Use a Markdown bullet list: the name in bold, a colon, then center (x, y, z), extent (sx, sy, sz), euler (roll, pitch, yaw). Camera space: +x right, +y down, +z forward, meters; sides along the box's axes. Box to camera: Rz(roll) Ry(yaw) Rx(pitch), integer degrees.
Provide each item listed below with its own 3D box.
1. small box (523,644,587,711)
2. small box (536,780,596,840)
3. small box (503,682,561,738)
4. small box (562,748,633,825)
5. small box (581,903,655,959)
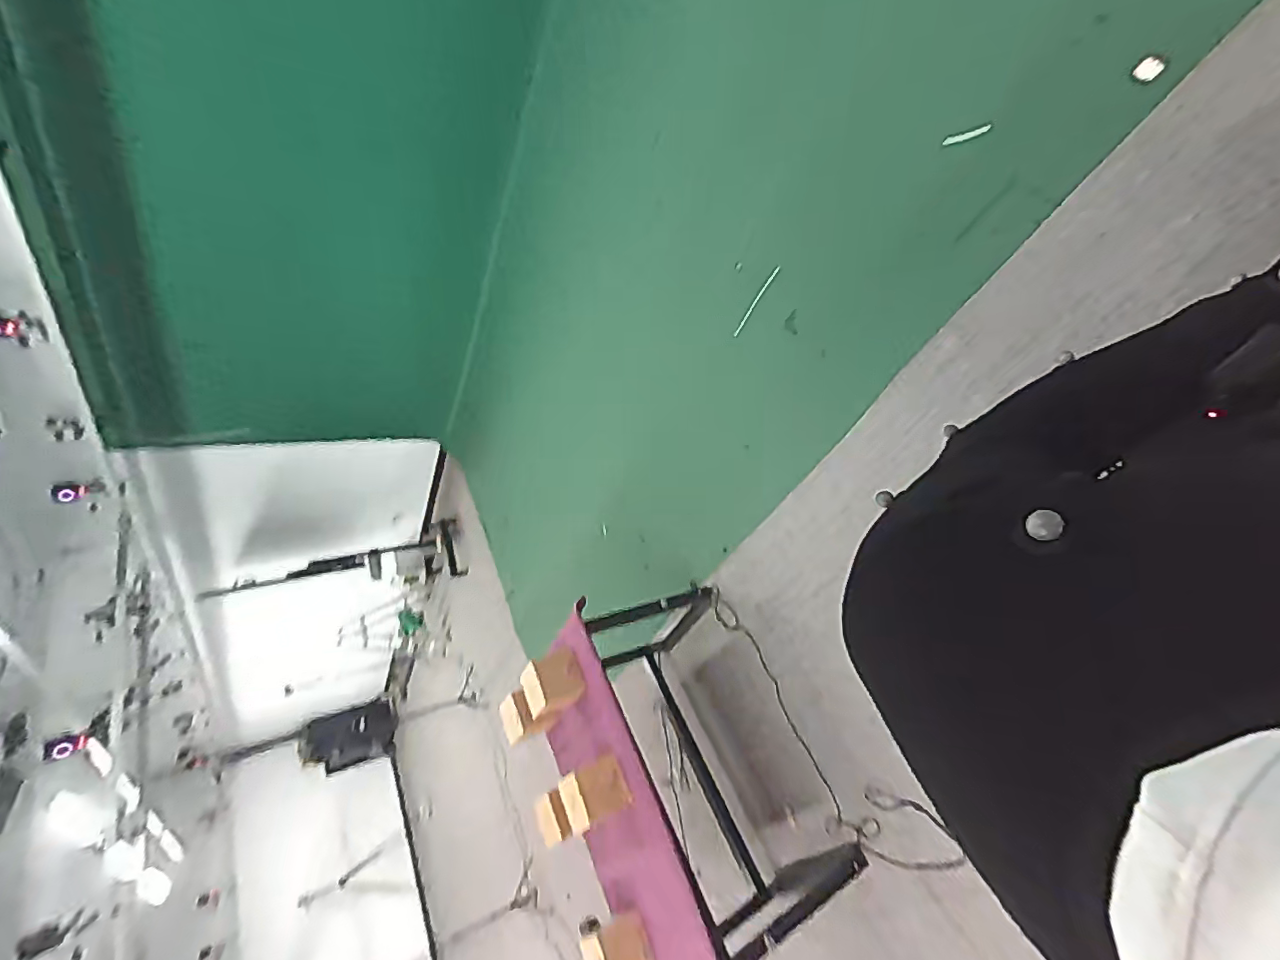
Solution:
- **small box**: center (-0.324, 0.752, 2.065), extent (0.168, 0.176, 0.179), euler (61, 140, 26)
- **small box**: center (-0.273, 1.245, 2.076), extent (0.179, 0.176, 0.168), euler (-55, 53, 41)
- **small box**: center (-0.455, 0.954, 2.278), extent (0.168, 0.176, 0.179), euler (60, 136, 27)
- **small box**: center (-0.148, 1.061, 1.873), extent (0.168, 0.176, 0.179), euler (62, 140, 28)
- **small box**: center (-0.069, 1.578, 1.836), extent (0.179, 0.176, 0.168), euler (-56, 51, 41)
